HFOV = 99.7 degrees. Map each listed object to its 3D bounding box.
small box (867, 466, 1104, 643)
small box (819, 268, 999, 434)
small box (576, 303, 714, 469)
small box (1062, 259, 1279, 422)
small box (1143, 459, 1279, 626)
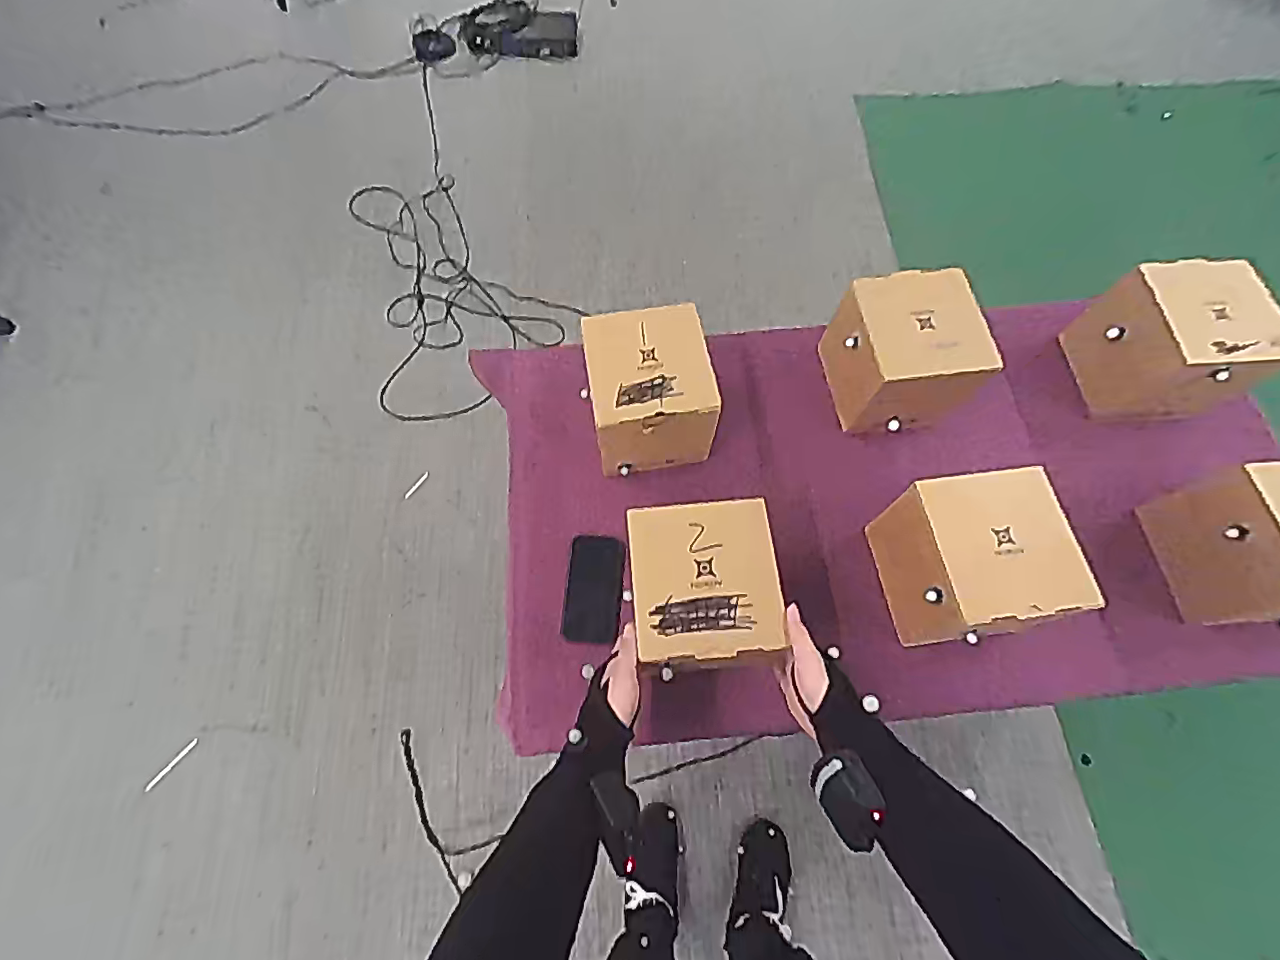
[{"bbox_3d":[0.418,0.101,0.694,0.168,0.176,0.179,-7,67,-3],"label":"small box"},{"bbox_3d":[0.388,-0.189,0.819,0.168,0.176,0.179,-6,68,-1],"label":"small box"},{"bbox_3d":[0.005,-0.127,0.793,0.168,0.176,0.179,-9,66,-4],"label":"small box"},{"bbox_3d":[0.799,-0.207,0.823,0.168,0.176,0.179,-3,67,0],"label":"small box"},{"bbox_3d":[0.818,0.083,0.695,0.168,0.176,0.179,-4,67,0],"label":"small box"}]
